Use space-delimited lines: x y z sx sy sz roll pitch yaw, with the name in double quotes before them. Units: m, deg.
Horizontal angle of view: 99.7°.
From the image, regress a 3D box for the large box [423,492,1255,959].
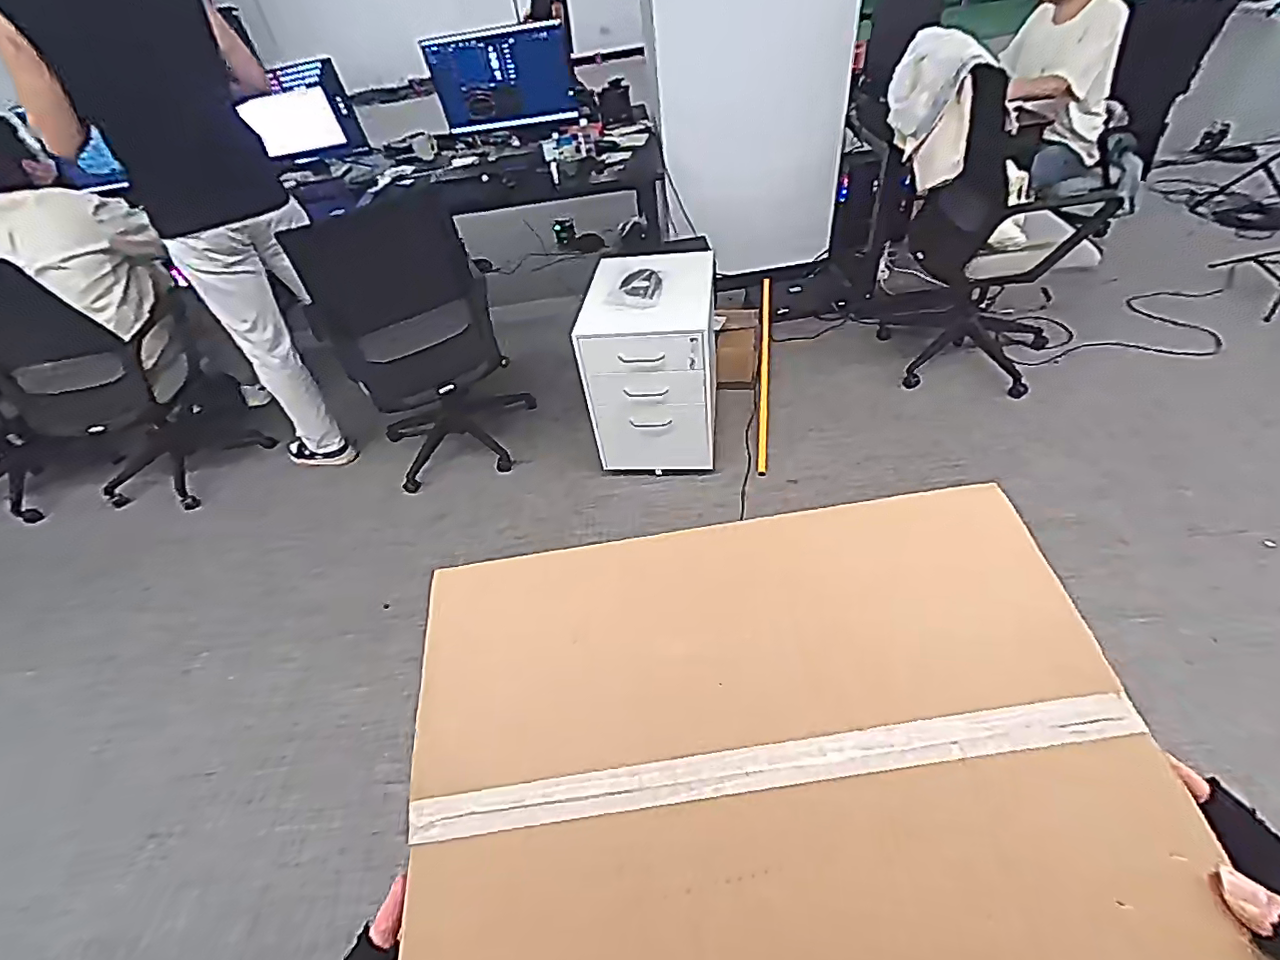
"large box" 0.089 0.249 0.436 0.408 0.320 0.320 -10 56 1
